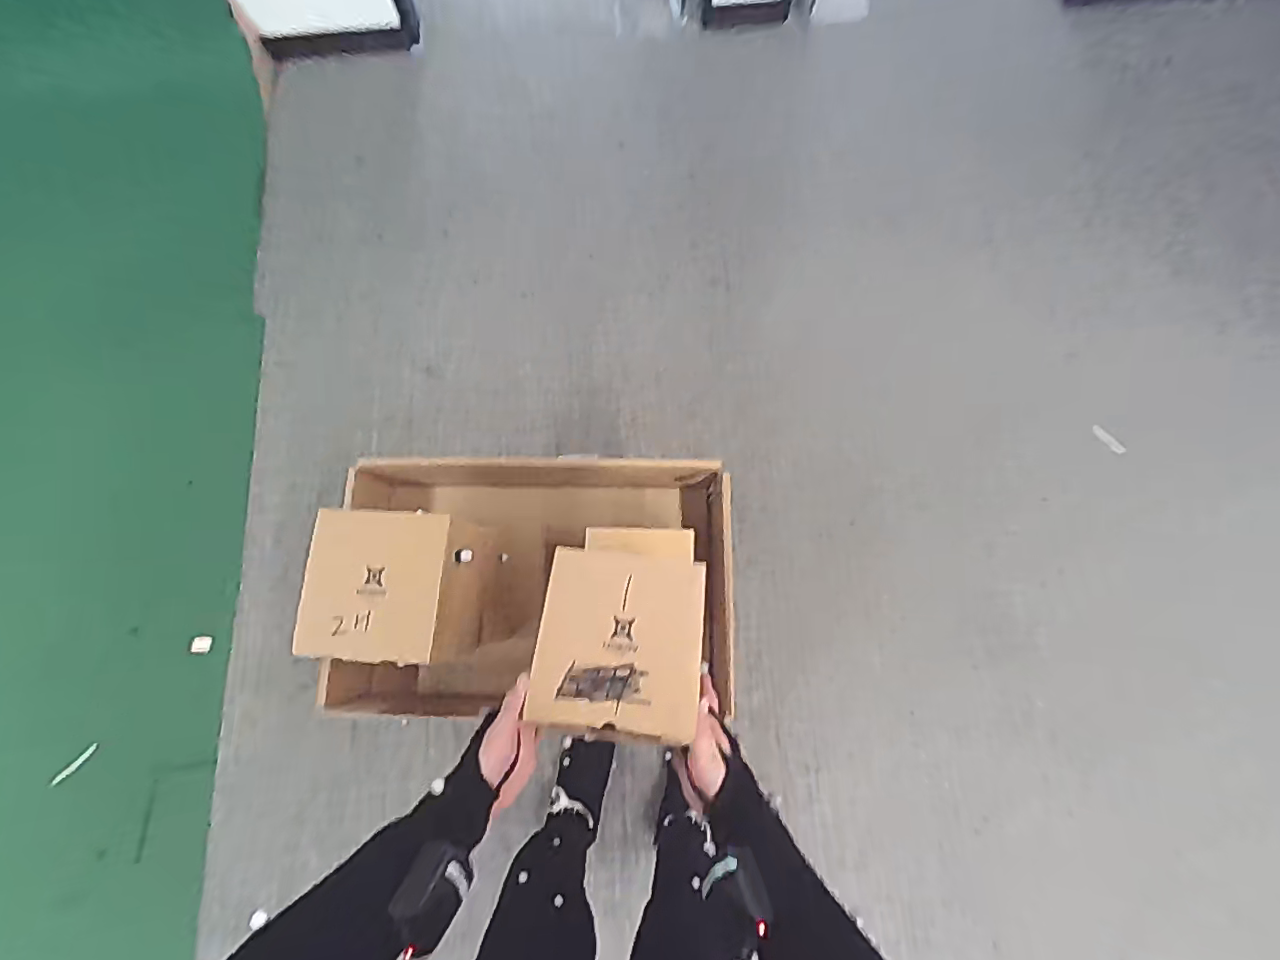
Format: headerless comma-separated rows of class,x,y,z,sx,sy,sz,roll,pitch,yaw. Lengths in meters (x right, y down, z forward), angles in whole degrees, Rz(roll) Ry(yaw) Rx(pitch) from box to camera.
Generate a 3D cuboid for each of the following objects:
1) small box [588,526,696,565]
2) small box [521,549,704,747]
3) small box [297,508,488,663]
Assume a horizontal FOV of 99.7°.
small box,0.001,0.173,0.877,0.168,0.176,0.179,0,78,1
small box,-0.022,0.195,0.608,0.168,0.176,0.179,6,62,2
small box,-0.311,0.141,0.722,0.168,0.176,0.179,2,77,3
